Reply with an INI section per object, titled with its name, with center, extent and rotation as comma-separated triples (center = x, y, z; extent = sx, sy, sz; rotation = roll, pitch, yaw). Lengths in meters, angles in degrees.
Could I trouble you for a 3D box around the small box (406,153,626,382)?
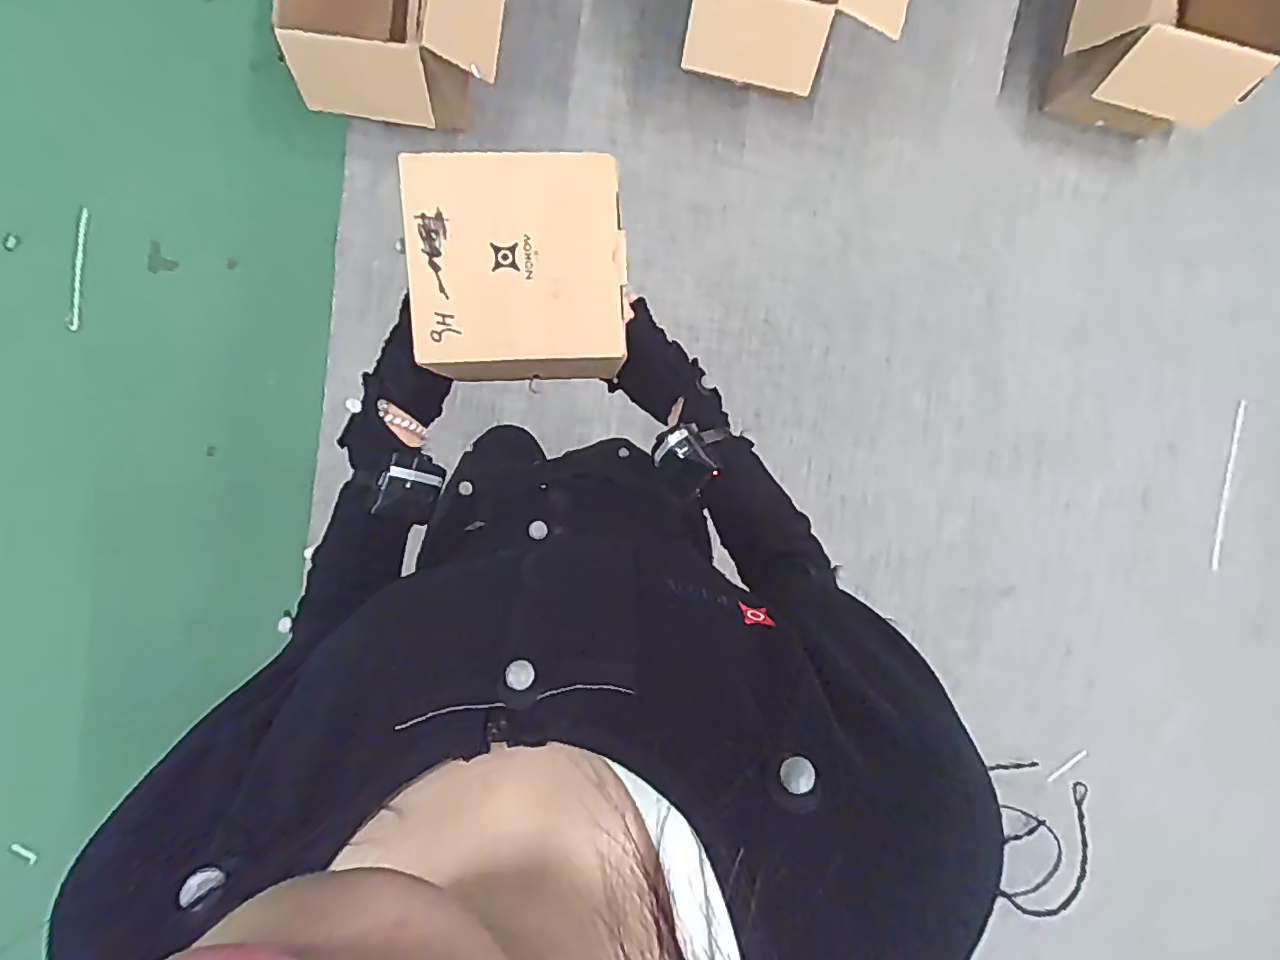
[small box]
center = -0.111, -0.189, 0.528
extent = 0.179, 0.176, 0.168
rotation = -2, 94, -7
